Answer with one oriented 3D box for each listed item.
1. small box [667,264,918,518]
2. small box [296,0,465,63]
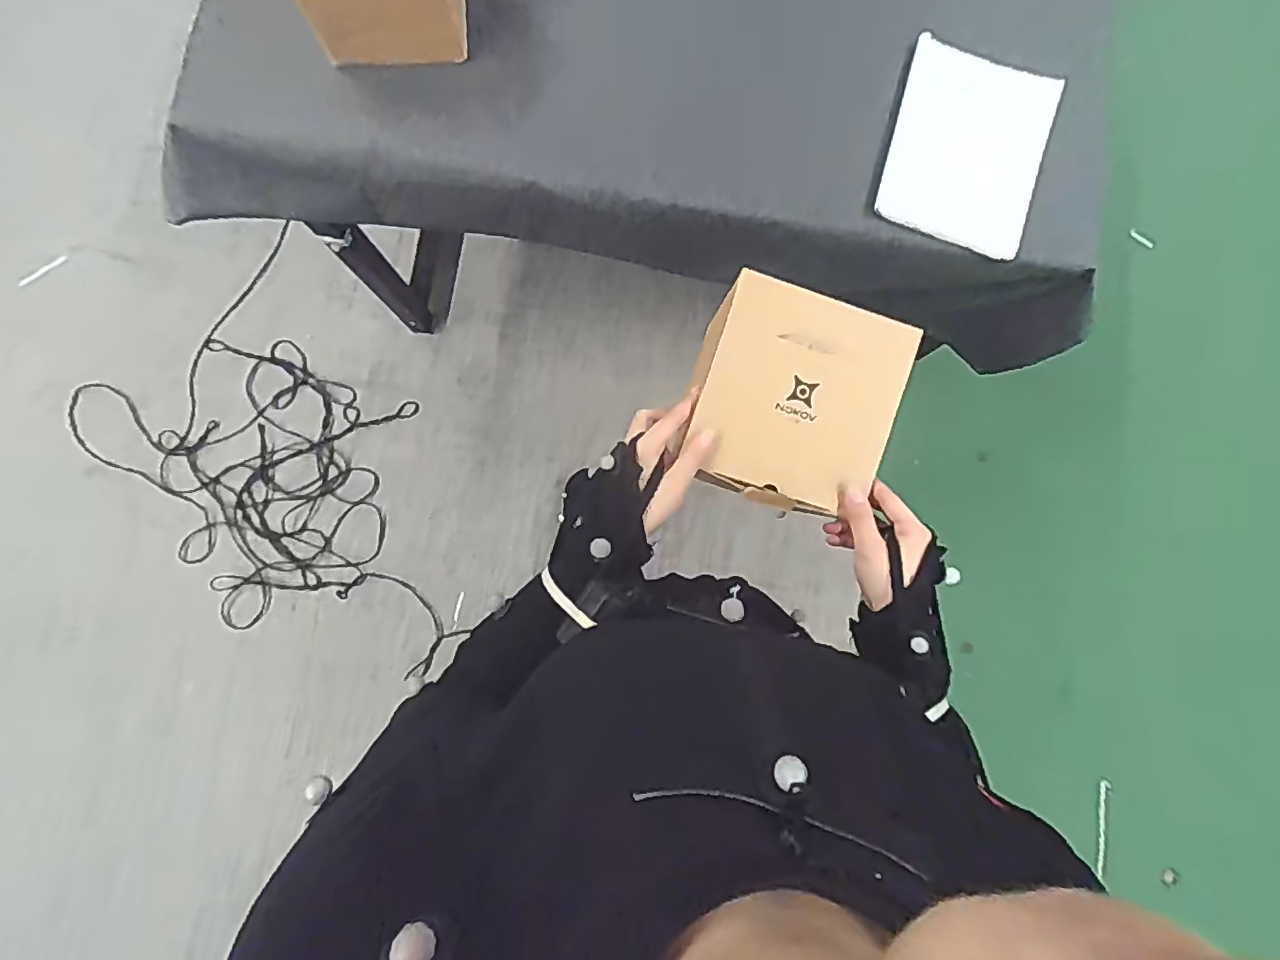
[{"bbox_3d":[0.129,-0.074,0.532,0.168,0.176,0.179,18,89,-3],"label":"small box"},{"bbox_3d":[-0.317,-0.629,0.631,0.179,0.176,0.168,-4,83,-3],"label":"small box"}]
